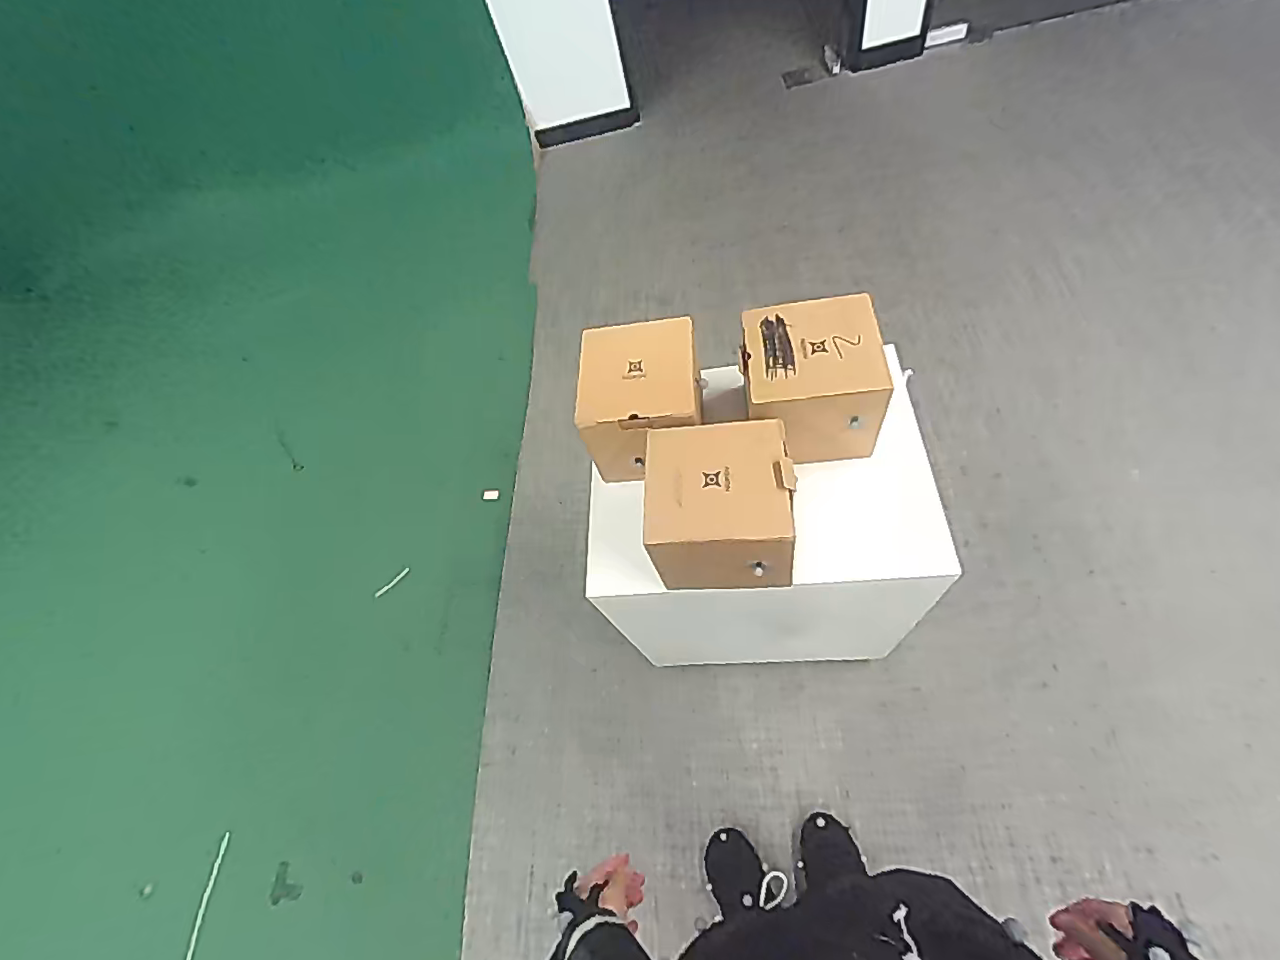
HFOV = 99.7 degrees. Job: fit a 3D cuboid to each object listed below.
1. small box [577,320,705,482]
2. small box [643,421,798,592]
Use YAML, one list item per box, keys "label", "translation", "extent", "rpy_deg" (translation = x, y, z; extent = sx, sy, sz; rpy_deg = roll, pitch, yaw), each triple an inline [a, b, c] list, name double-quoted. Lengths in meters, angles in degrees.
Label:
- label: "small box"
  translation: [0.010, -0.115, 0.829]
  extent: [0.168, 0.176, 0.179]
  rpy_deg: [-4, 61, 10]
- label: "small box"
  translation: [0.109, 0.043, 0.716]
  extent: [0.179, 0.176, 0.168]
  rpy_deg: [-5, 58, 12]
